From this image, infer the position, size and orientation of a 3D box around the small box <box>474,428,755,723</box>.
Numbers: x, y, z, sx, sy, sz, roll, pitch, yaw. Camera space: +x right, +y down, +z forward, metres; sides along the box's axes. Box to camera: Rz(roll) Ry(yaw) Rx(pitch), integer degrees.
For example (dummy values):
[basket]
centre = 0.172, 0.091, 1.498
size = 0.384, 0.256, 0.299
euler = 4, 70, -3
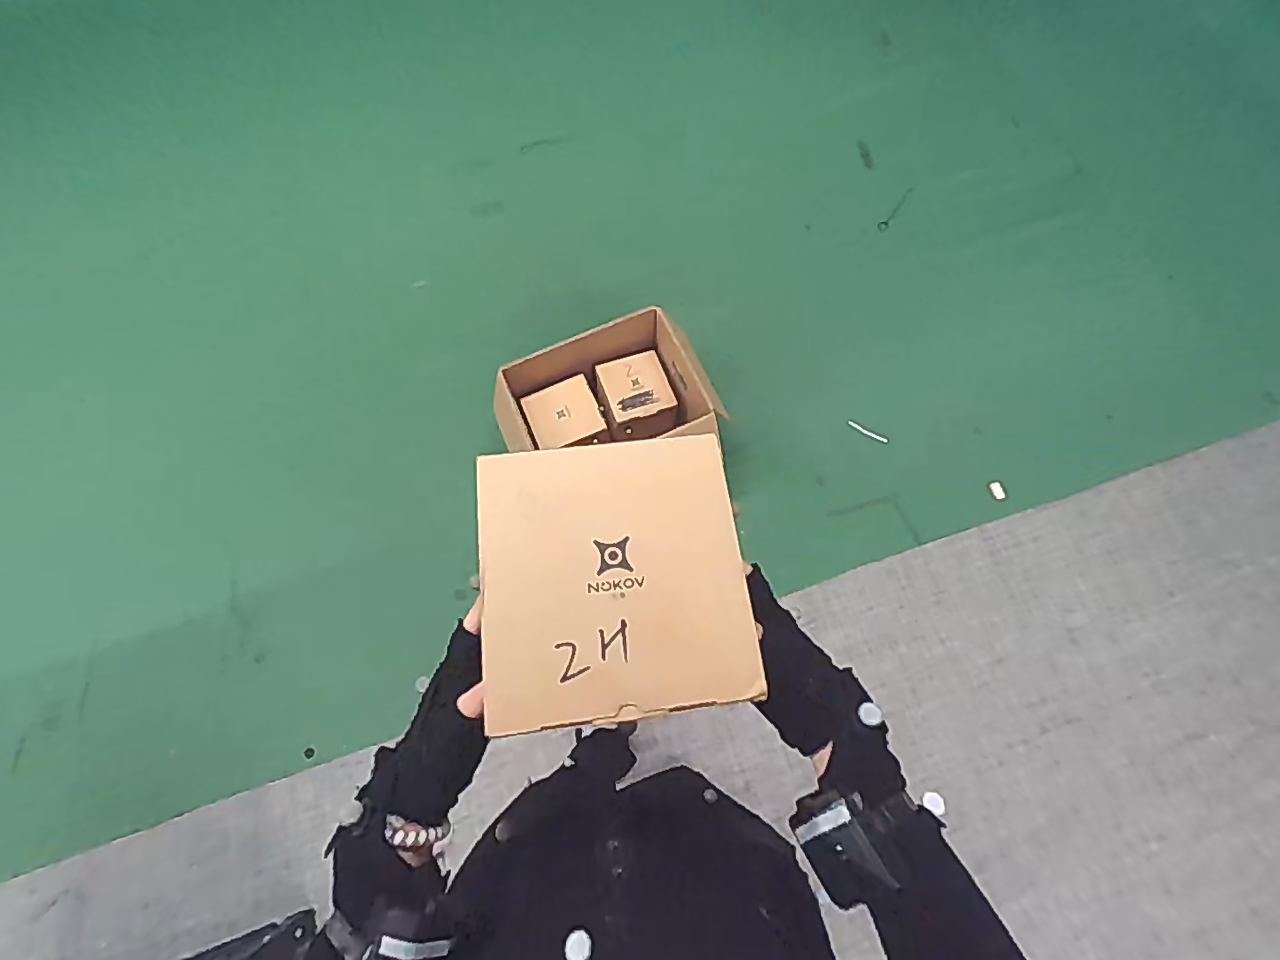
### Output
[small box]
centre = -0.026, 0.078, 0.414
size = 0.168, 0.176, 0.179
euler = -5, 71, -5
